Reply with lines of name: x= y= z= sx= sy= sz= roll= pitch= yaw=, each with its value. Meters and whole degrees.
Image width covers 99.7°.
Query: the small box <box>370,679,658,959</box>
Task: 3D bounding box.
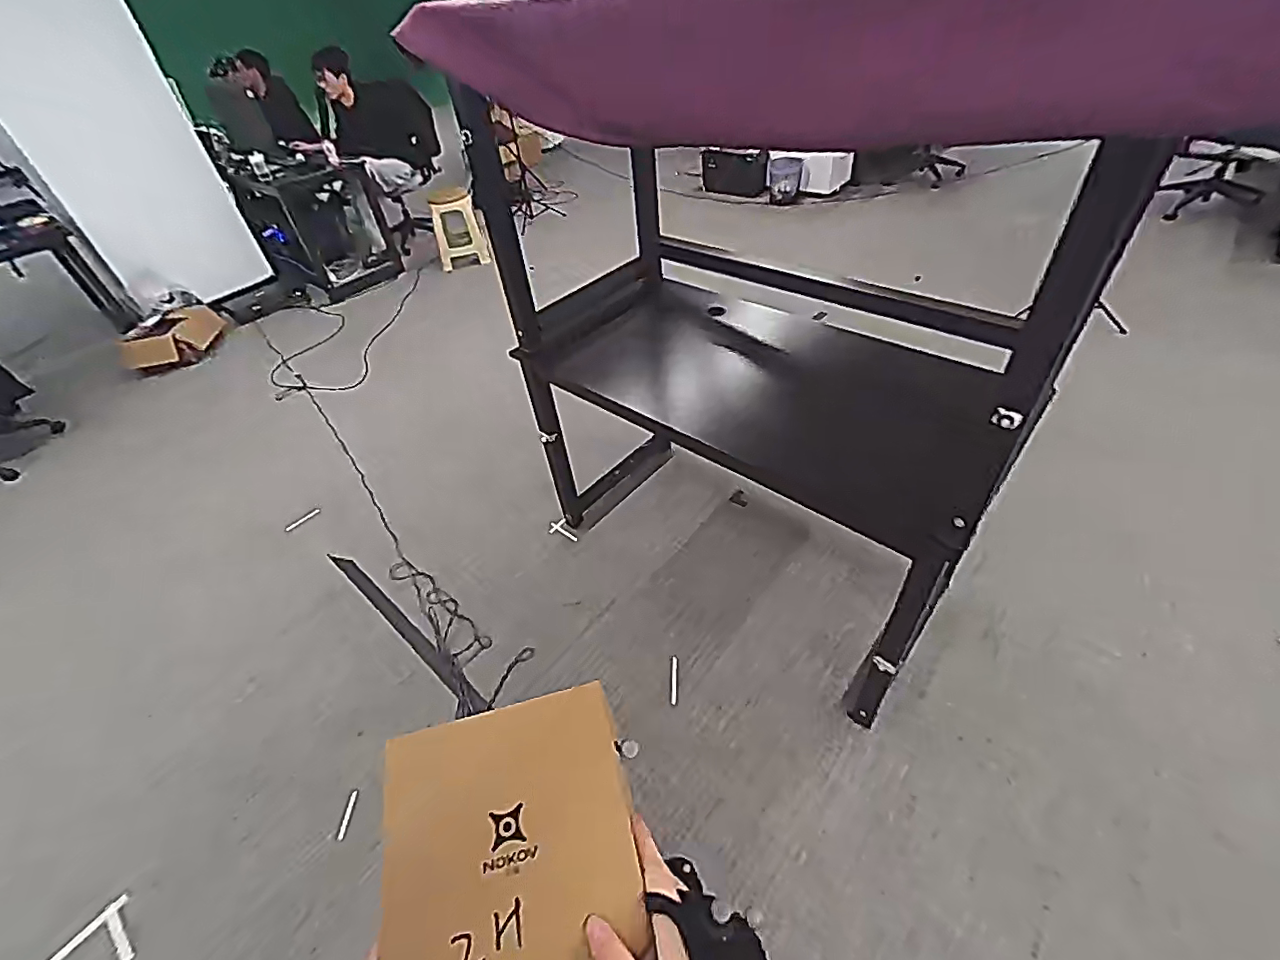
small box: x=-0.087 y=0.282 z=0.417 sx=0.168 sy=0.176 sz=0.179 roll=-14 pitch=55 yaw=-7
